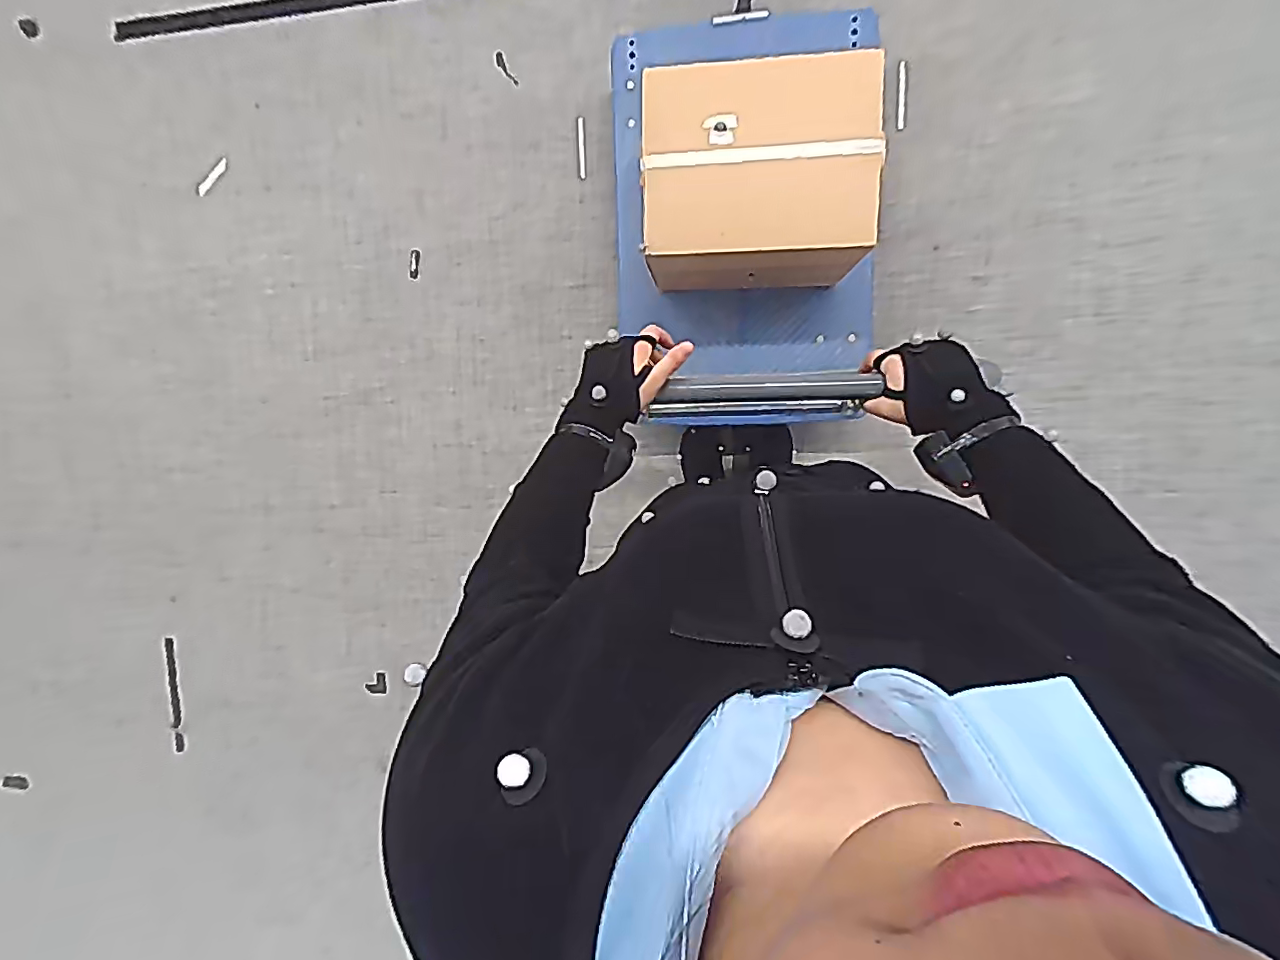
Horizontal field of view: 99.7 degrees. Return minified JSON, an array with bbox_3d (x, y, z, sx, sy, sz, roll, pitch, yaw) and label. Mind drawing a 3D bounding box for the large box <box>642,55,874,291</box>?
[{"bbox_3d":[0.225,-0.582,1.101,0.408,0.320,0.320,0,96,8],"label":"large box"}]
